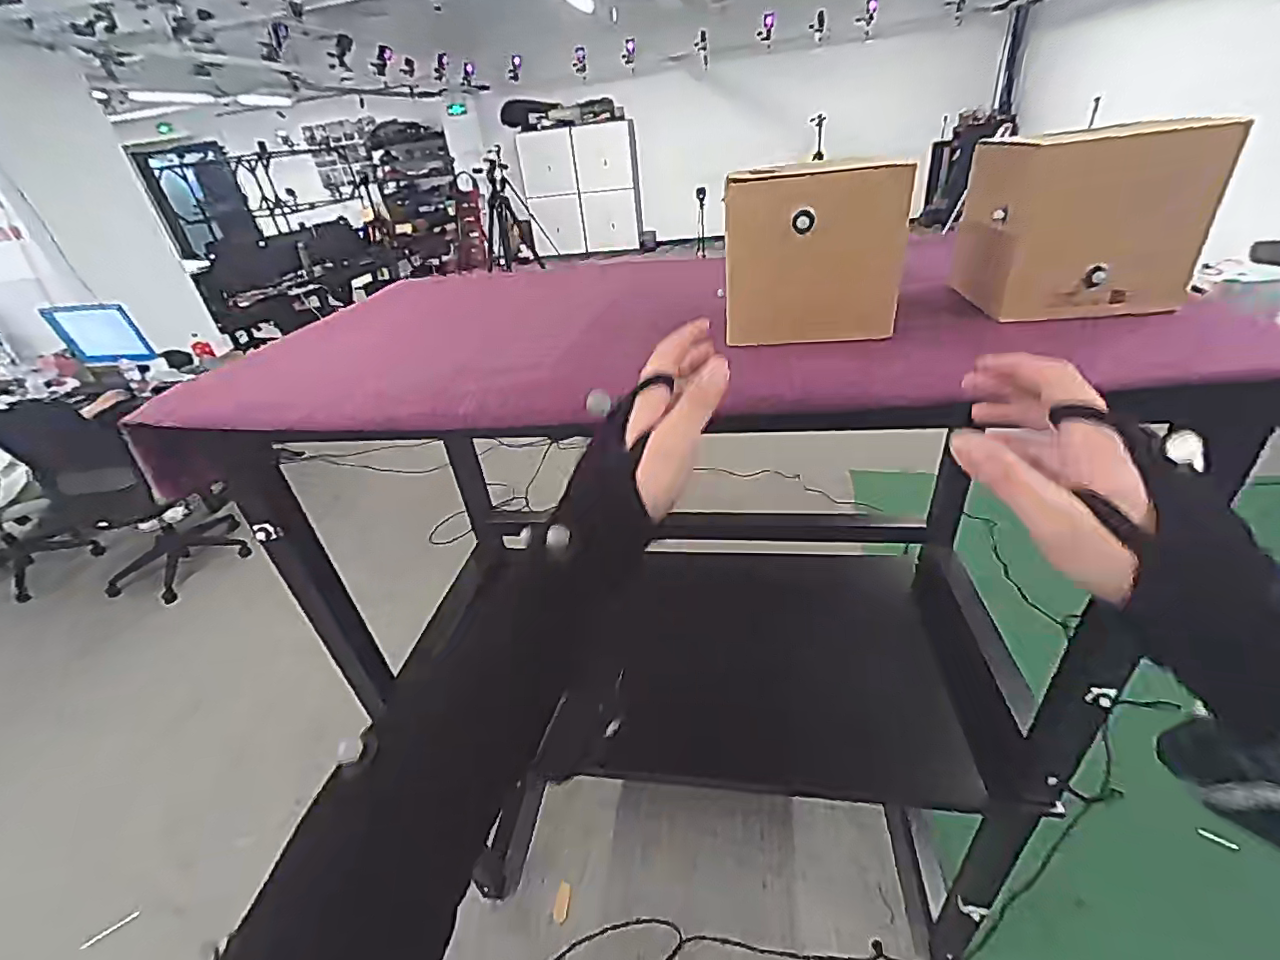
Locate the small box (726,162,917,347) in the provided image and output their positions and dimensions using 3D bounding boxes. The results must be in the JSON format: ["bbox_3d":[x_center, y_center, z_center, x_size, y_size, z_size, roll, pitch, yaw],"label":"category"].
[{"bbox_3d":[0.191,-0.256,0.616,0.179,0.176,0.168,1,32,11],"label":"small box"}]
